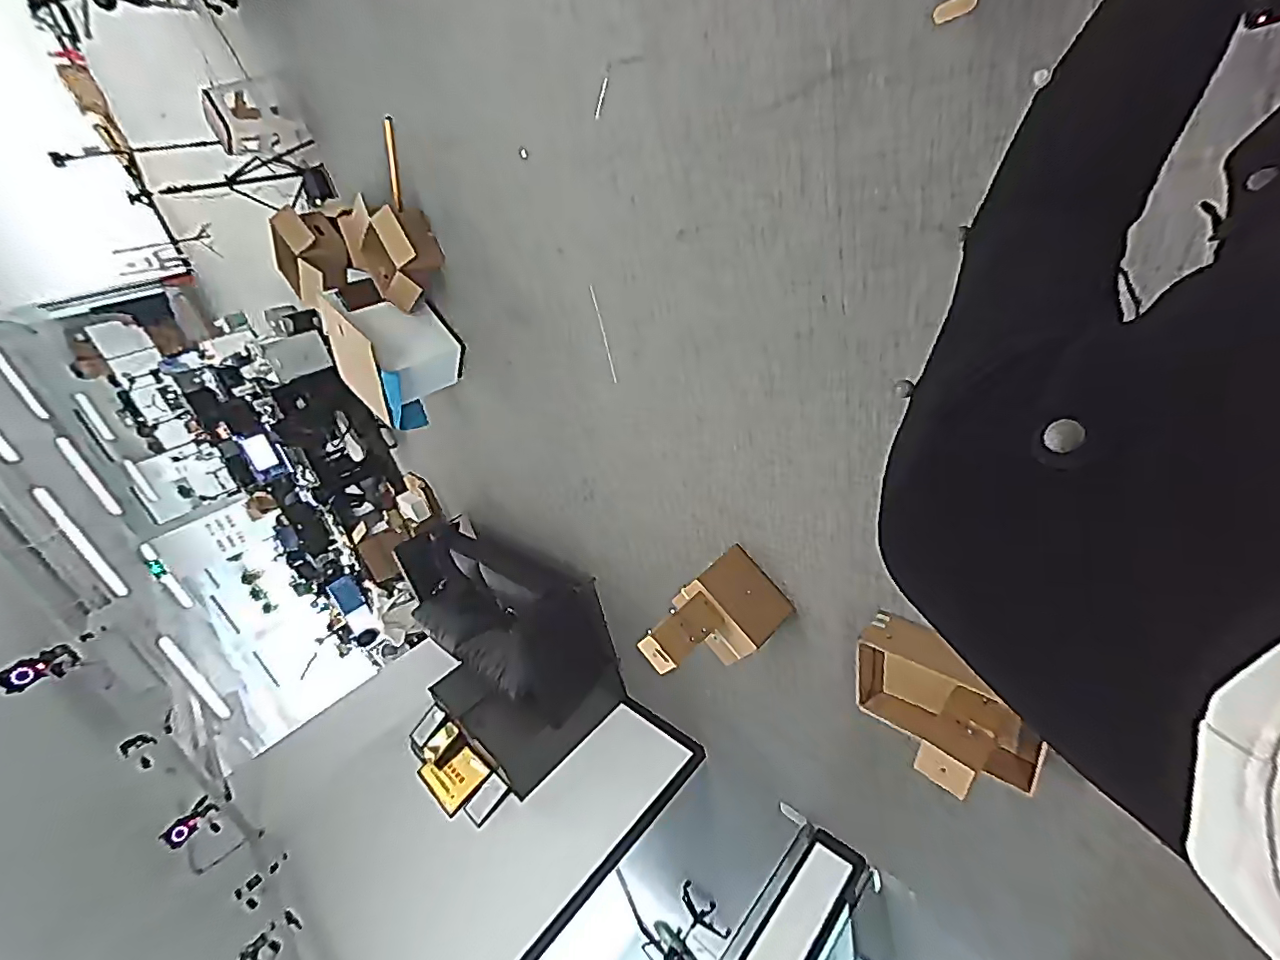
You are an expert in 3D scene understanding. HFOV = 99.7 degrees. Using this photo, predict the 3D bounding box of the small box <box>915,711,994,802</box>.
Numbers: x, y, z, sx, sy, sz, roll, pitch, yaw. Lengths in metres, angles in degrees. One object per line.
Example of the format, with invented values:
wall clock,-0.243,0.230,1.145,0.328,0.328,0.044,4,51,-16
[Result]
small box,1.058,0.924,1.818,0.168,0.176,0.179,27,135,40

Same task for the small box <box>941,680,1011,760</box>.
small box,1.175,0.849,1.903,0.168,0.176,0.179,24,133,43

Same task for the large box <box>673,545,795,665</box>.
large box,0.439,0.589,2.565,0.408,0.320,0.320,47,146,11

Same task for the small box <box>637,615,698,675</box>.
small box,0.122,0.704,2.318,0.168,0.176,0.179,49,145,11
